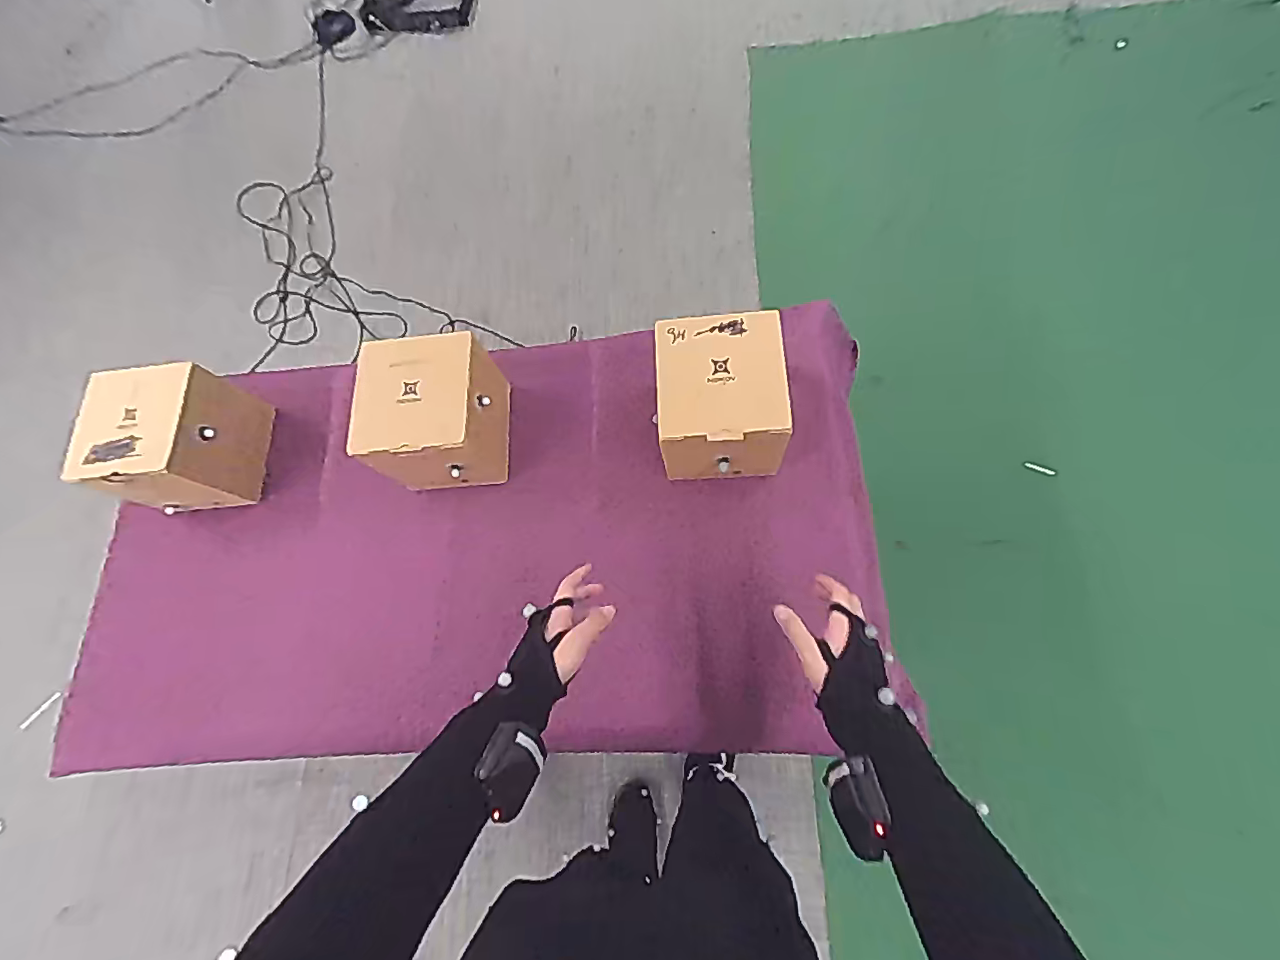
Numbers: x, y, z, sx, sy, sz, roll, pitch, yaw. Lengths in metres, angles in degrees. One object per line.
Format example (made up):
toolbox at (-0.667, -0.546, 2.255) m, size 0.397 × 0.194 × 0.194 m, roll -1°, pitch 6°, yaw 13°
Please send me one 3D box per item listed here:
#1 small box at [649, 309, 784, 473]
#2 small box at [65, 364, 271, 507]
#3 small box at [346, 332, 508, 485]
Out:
small box at (0.106, -0.113, 0.765) m, size 0.168 × 0.176 × 0.179 m, roll -4°, pitch 73°, yaw 7°
small box at (-0.727, -0.059, 0.857) m, size 0.168 × 0.176 × 0.179 m, roll -5°, pitch 71°, yaw 5°
small box at (-0.307, -0.096, 0.816) m, size 0.168 × 0.176 × 0.179 m, roll -4°, pitch 72°, yaw 6°
